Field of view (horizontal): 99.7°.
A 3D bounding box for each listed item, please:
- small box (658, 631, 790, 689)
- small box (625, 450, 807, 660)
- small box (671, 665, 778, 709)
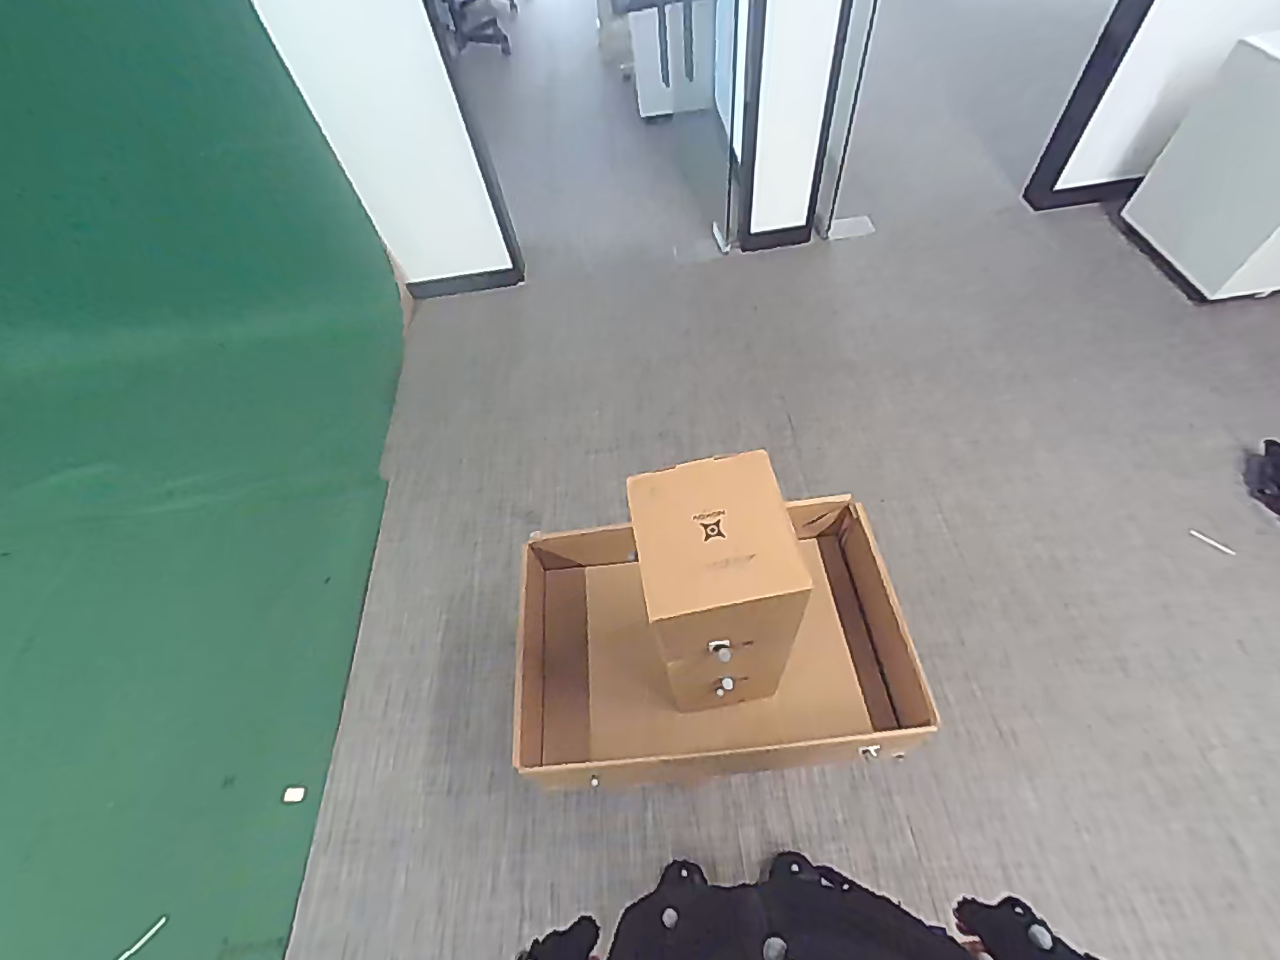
[{"bbox_3d":[0.103,0.182,0.778,0.168,0.176,0.179,-11,56,1],"label":"small box"},{"bbox_3d":[0.083,0.094,0.644,0.168,0.176,0.179,-12,57,2],"label":"small box"},{"bbox_3d":[0.125,0.268,0.916,0.168,0.176,0.179,-13,55,2],"label":"small box"}]
